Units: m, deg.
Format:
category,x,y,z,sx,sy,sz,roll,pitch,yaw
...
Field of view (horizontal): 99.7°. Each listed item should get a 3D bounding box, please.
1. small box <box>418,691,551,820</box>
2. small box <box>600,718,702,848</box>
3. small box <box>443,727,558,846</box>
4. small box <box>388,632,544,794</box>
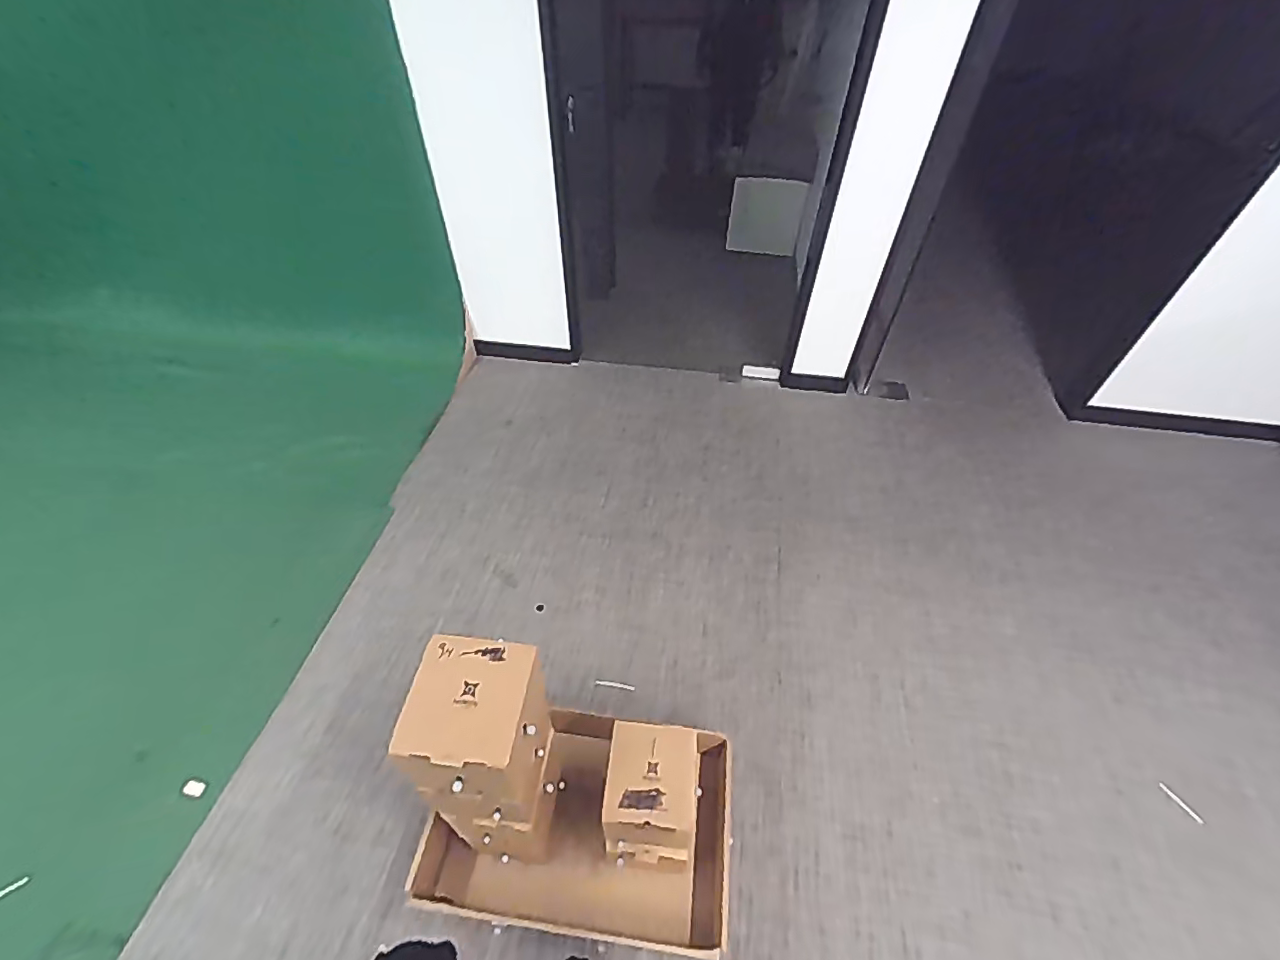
category,x,y,z,sx,sy,sz,roll,pitch,yaw
small box,-0.256,0.472,0.942,0.168,0.176,0.179,7,47,2
small box,0.024,0.593,1.053,0.168,0.176,0.179,8,48,5
small box,-0.261,0.588,1.058,0.168,0.176,0.179,8,48,4
small box,-0.248,0.359,0.825,0.168,0.176,0.179,7,48,2
